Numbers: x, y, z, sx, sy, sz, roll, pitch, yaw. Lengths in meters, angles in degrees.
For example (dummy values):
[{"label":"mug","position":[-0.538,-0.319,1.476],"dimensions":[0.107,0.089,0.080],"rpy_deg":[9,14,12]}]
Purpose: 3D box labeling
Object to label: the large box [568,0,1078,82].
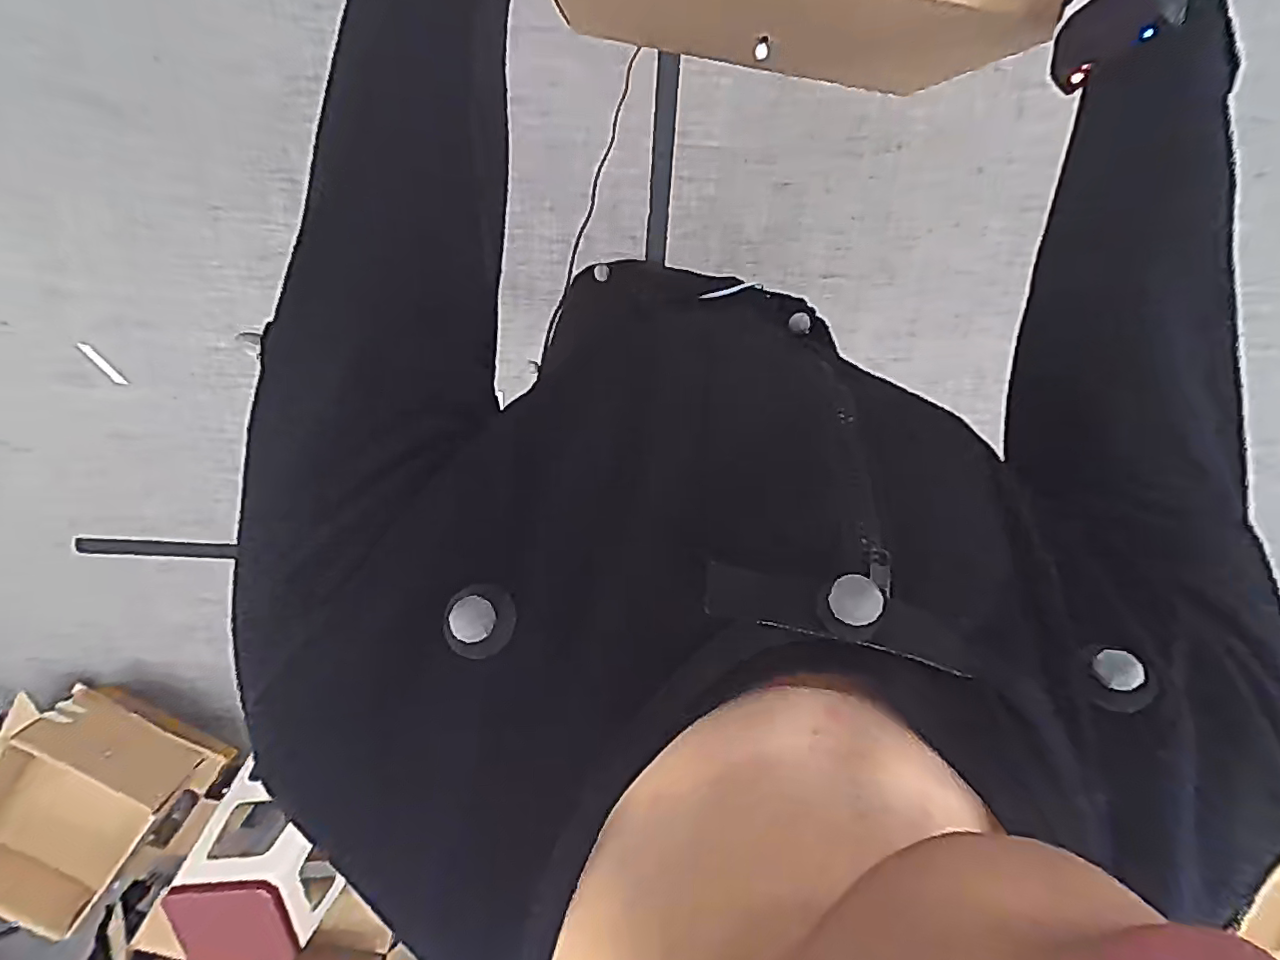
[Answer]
[{"label":"large box","position":[0.141,-0.558,0.435],"dimensions":[0.408,0.320,0.320],"rpy_deg":[9,117,-2]}]
